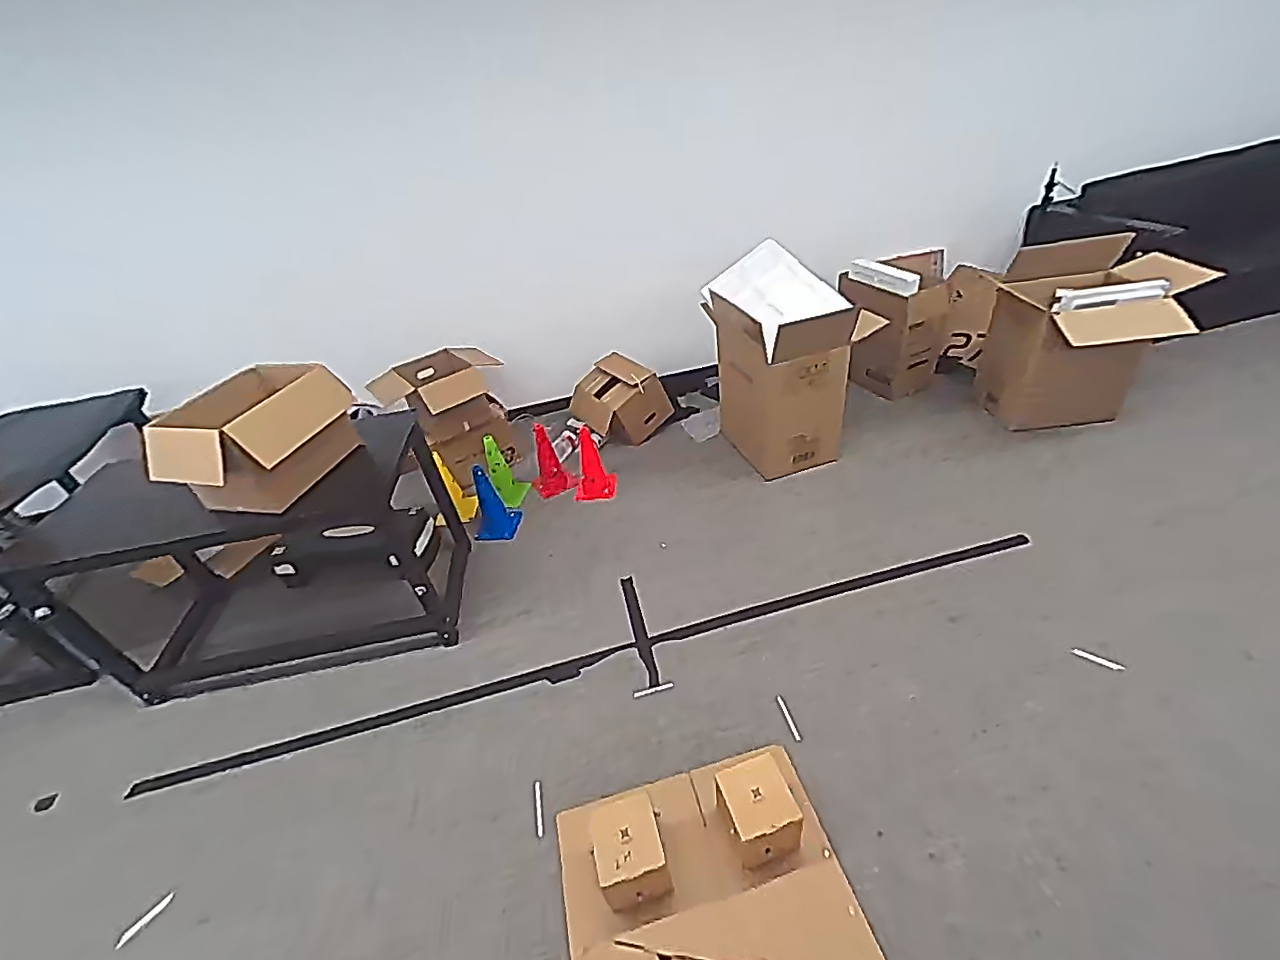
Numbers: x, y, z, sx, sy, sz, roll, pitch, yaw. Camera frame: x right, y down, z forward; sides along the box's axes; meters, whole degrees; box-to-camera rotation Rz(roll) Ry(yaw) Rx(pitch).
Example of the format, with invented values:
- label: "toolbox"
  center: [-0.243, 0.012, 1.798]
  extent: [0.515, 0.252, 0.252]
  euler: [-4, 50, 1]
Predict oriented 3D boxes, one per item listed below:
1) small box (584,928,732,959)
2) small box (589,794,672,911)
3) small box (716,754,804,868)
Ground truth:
- label: "small box"
  center: [0.019, 0.584, 0.526]
  extent: [0.168, 0.176, 0.179]
  euler: [1, 39, 13]
- label: "small box"
  center: [-0.024, 0.945, 1.375]
  extent: [0.168, 0.176, 0.179]
  euler: [-15, 37, -7]
- label: "small box"
  center: [0.309, 0.868, 1.419]
  extent: [0.168, 0.176, 0.179]
  euler: [-16, 38, -10]
